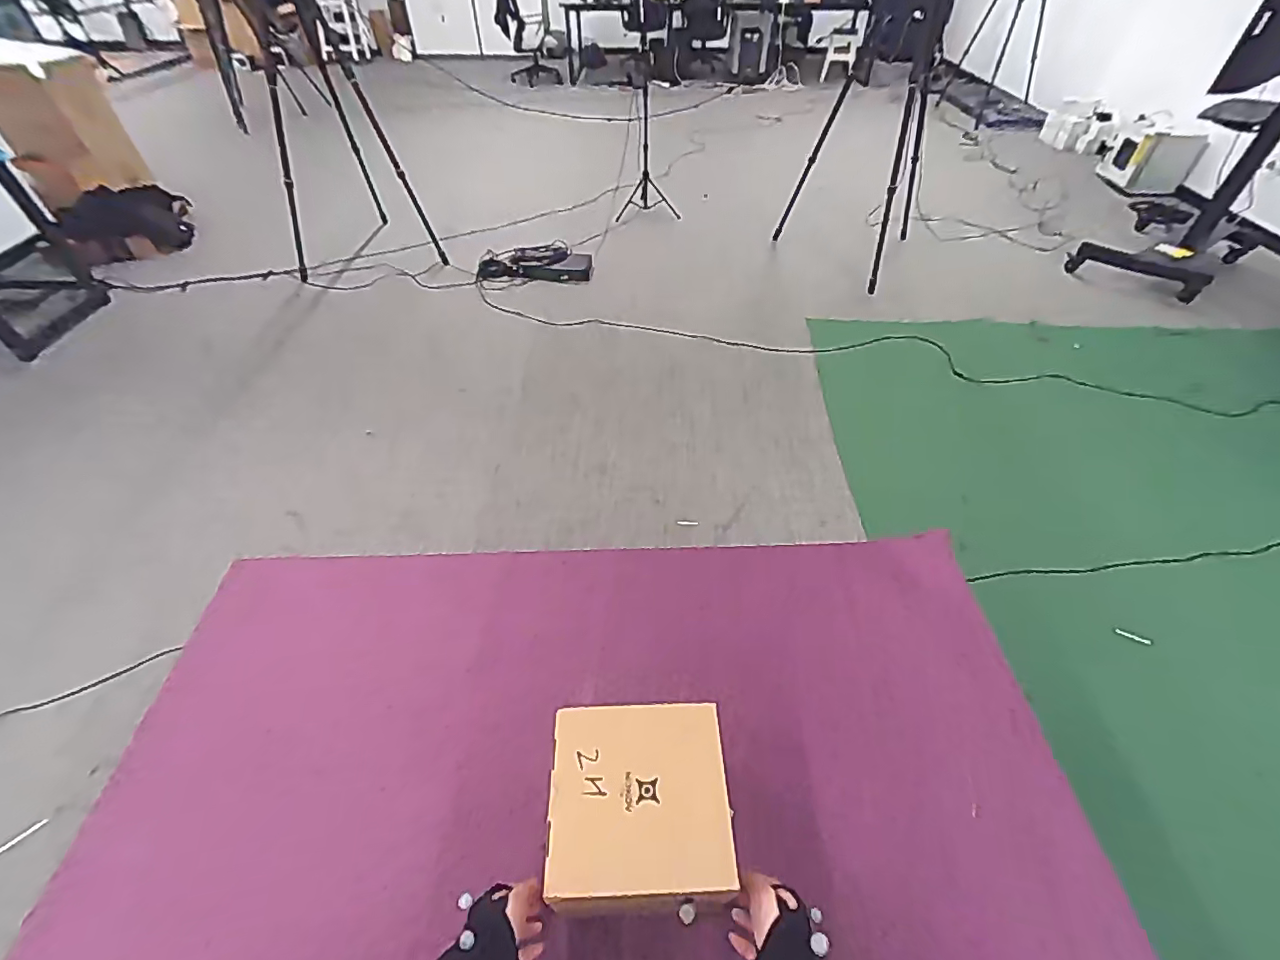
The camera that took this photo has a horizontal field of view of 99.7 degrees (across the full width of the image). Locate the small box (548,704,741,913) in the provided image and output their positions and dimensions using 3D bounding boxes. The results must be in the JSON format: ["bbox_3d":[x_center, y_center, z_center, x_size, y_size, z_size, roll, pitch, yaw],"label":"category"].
[{"bbox_3d":[0.003,0.360,0.593,0.179,0.176,0.168,-2,47,0],"label":"small box"}]
